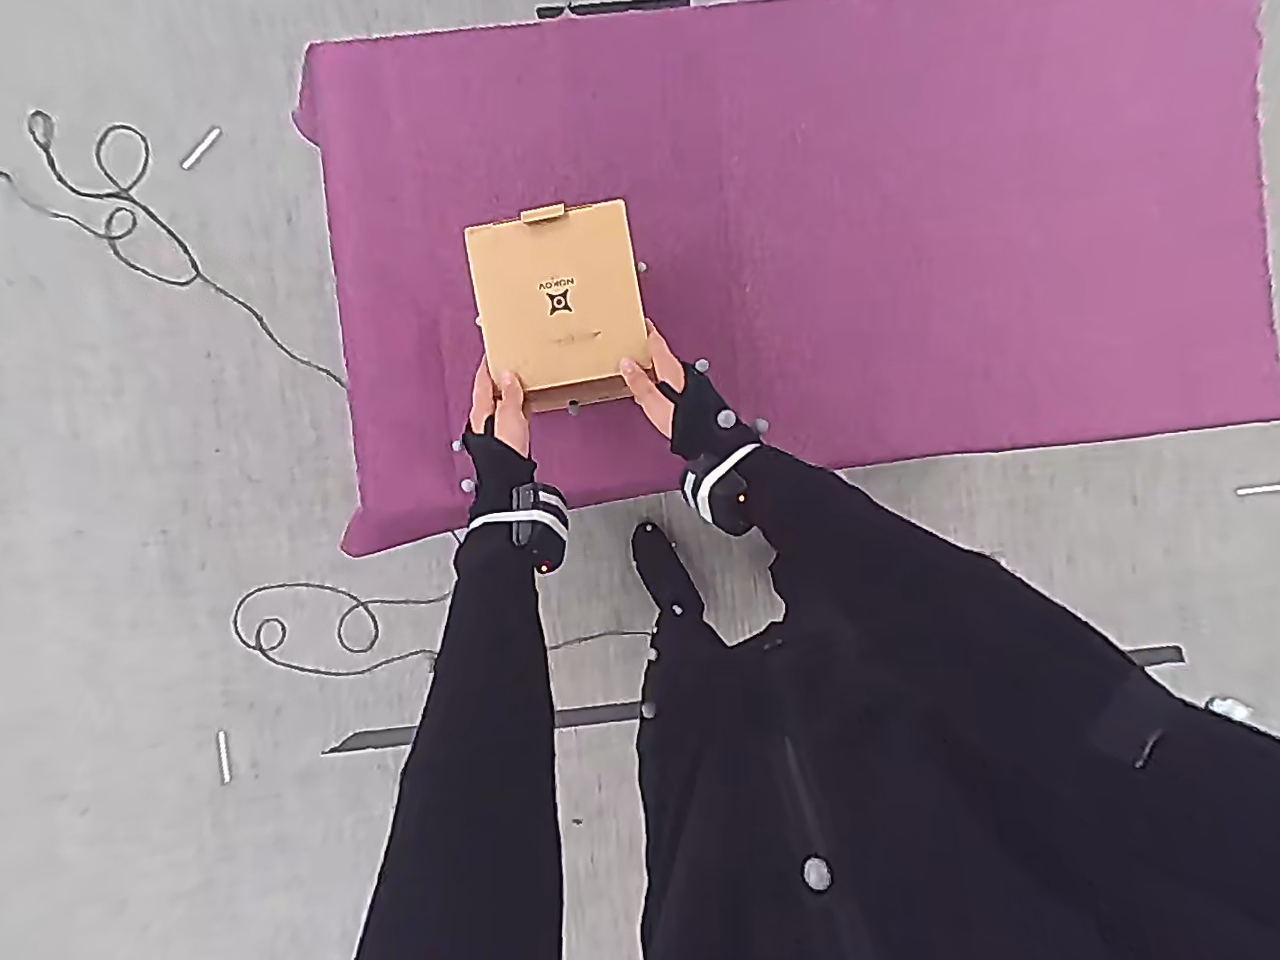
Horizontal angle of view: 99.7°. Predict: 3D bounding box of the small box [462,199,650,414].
[{"bbox_3d":[-0.084,-0.181,0.615,0.168,0.176,0.179,-10,91,1],"label":"small box"}]
